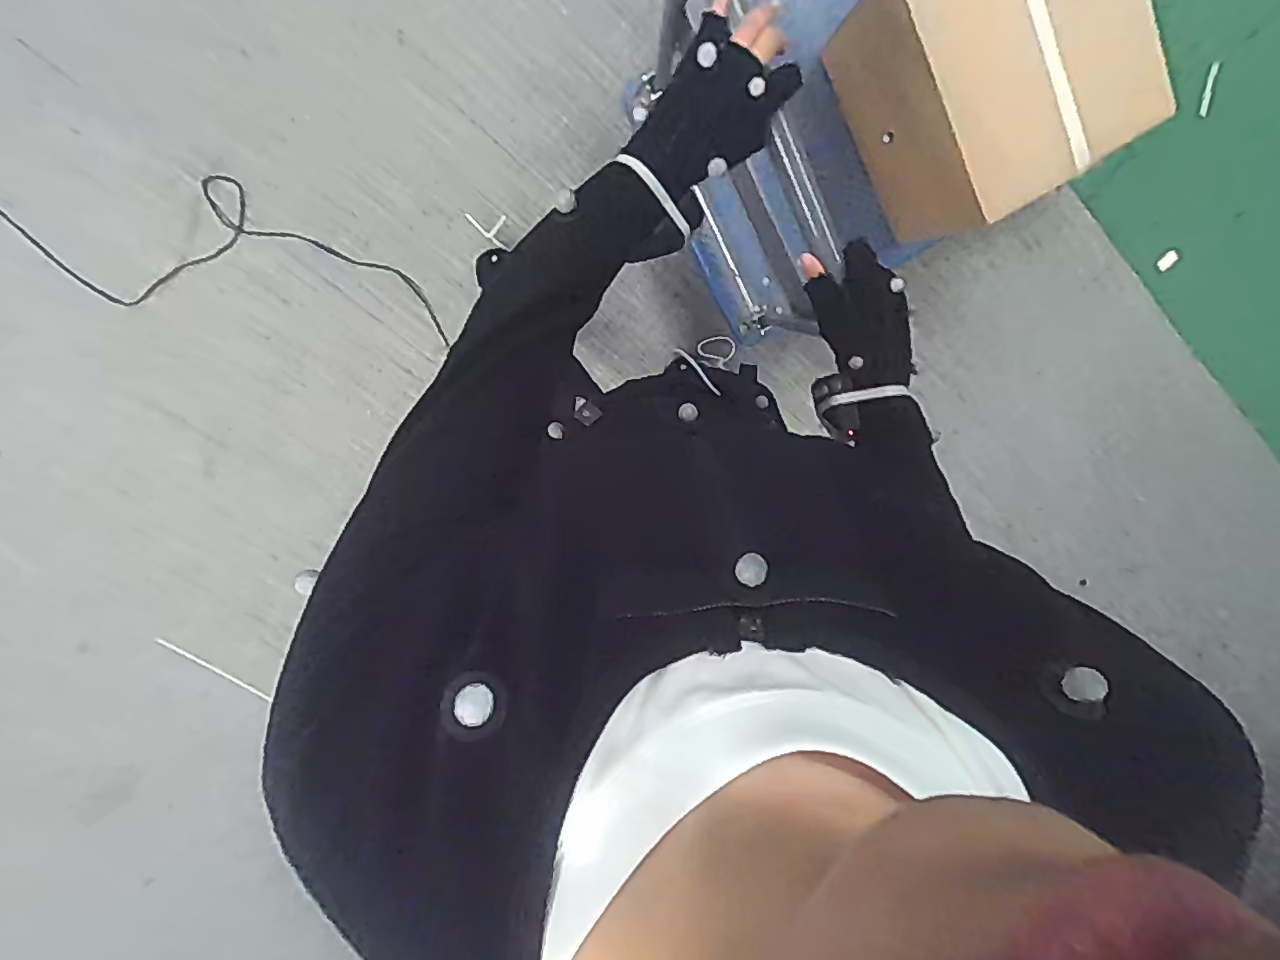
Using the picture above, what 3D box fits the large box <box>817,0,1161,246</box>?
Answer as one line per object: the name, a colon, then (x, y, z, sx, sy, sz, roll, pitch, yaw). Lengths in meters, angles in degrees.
large box: (0.573, -0.688, 0.946, 0.320, 0.320, 0.408, -30, 105, 7)
